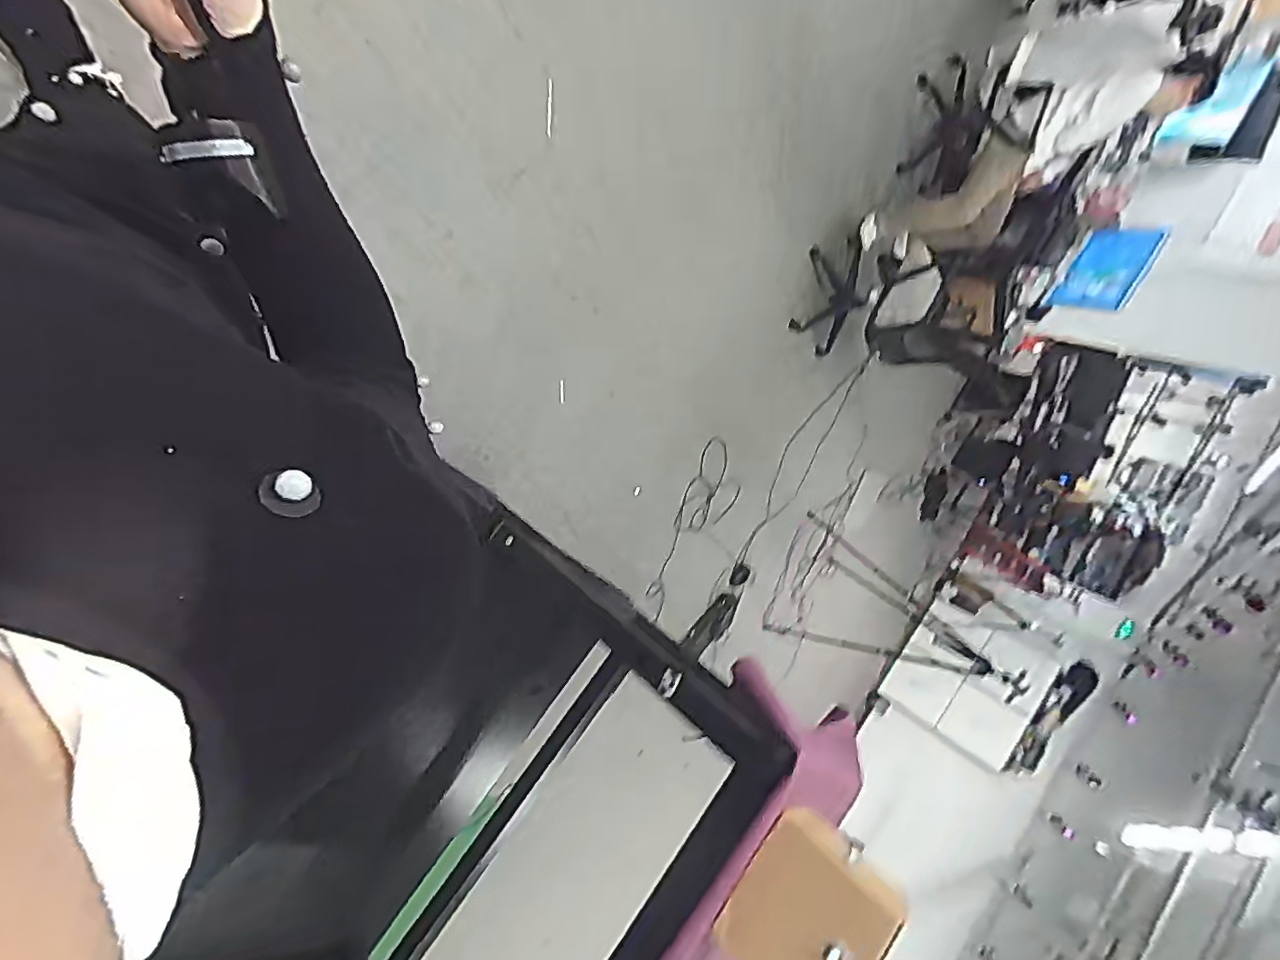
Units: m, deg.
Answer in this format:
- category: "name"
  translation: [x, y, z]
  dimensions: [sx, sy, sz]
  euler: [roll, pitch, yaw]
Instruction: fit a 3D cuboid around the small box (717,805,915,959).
- category: "small box"
  translation: [0.230, 0.555, 0.701]
  dimensions: [0.179, 0.176, 0.168]
  euler: [-53, 141, -8]
